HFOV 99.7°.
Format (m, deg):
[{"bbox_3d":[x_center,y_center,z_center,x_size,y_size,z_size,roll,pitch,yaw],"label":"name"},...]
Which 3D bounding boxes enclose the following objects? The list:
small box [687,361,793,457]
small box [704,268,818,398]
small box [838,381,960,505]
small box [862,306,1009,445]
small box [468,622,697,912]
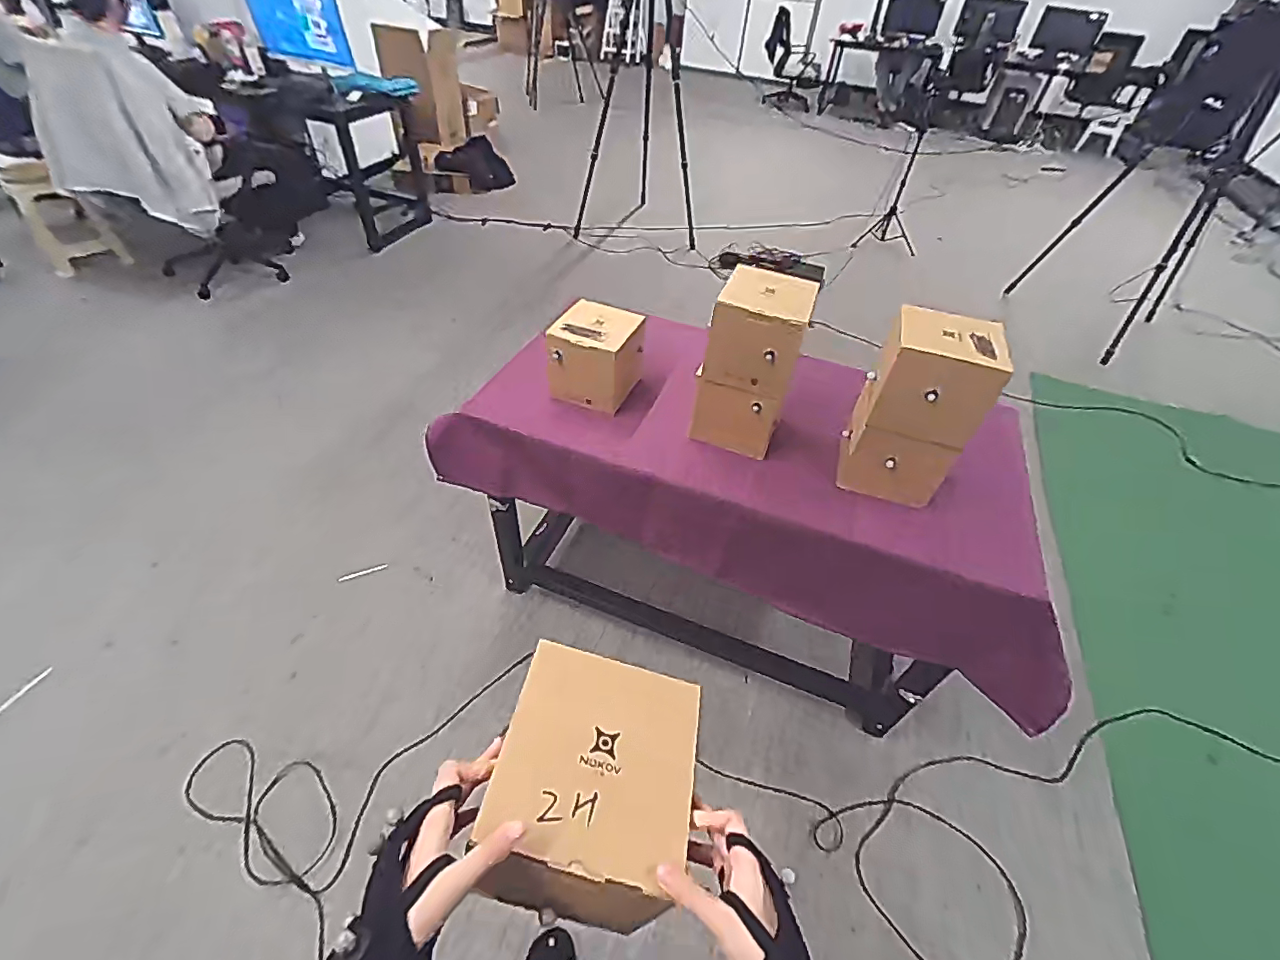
[{"bbox_3d":[0.214,-0.174,1.175,0.179,0.176,0.168,19,46,12],"label":"small box"},{"bbox_3d":[0.231,-0.286,1.058,0.168,0.176,0.179,19,45,11],"label":"small box"},{"bbox_3d":[0.515,-0.072,1.096,0.179,0.176,0.168,16,46,11],"label":"small box"},{"bbox_3d":[0.523,-0.186,0.978,0.179,0.176,0.168,17,45,12],"label":"small box"},{"bbox_3d":[-0.056,0.274,0.518,0.168,0.176,0.179,18,41,-2],"label":"small box"}]
